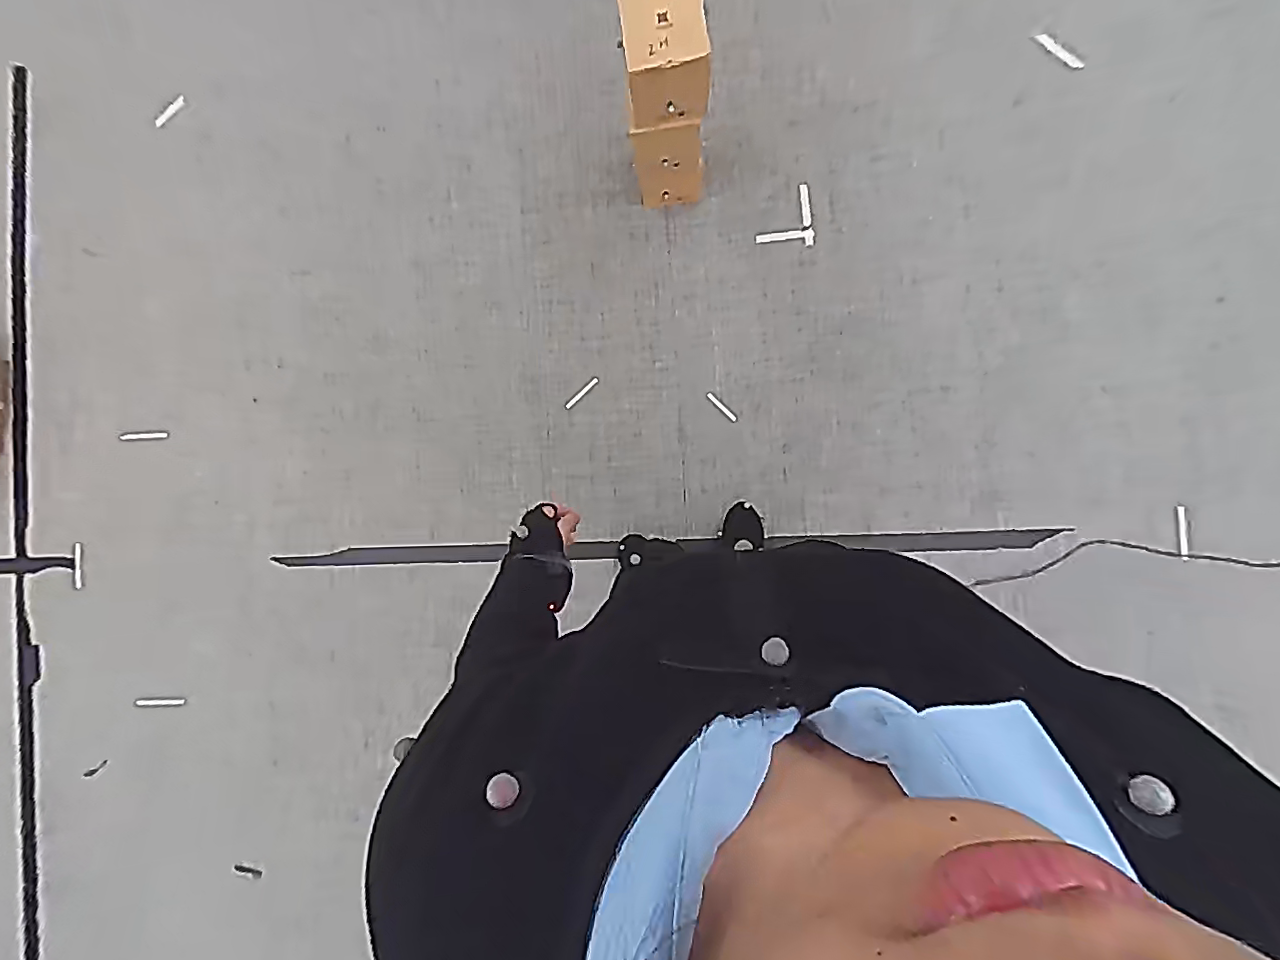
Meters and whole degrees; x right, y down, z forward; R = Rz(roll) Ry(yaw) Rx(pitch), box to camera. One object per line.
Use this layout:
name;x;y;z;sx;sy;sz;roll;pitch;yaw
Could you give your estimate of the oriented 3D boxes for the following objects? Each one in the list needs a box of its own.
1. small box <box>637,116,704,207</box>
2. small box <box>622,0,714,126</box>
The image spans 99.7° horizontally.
small box;0.082;-0.874;1.461;0.168;0.176;0.179;-5;88;5
small box;0.058;-0.892;1.133;0.168;0.176;0.179;-8;88;5
